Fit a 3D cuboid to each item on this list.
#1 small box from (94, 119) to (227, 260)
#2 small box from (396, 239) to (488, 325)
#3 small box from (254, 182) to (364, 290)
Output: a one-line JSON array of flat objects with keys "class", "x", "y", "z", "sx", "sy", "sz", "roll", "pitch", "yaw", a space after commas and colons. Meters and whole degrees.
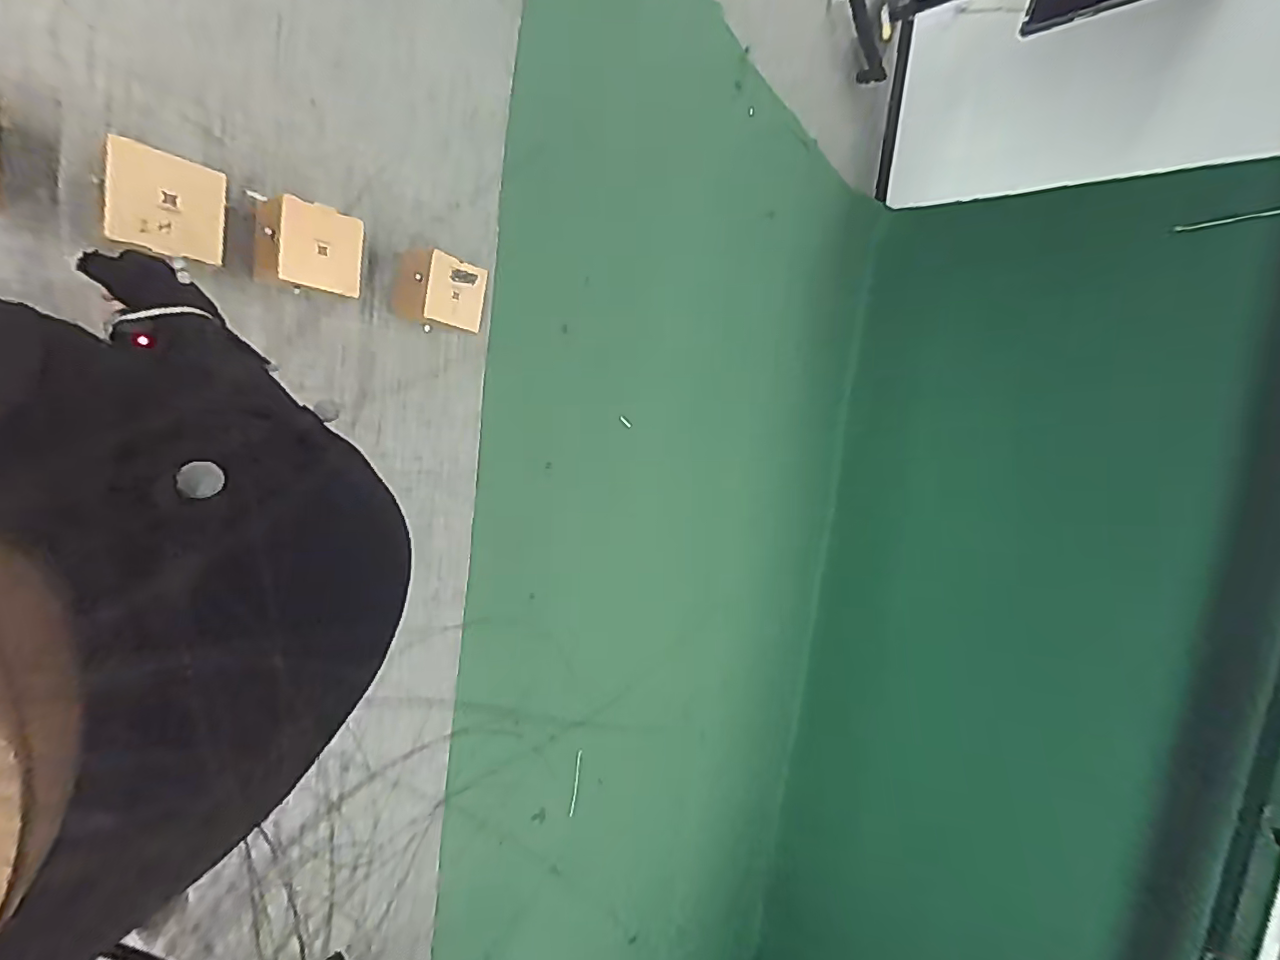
[{"class": "small box", "x": -0.909, "y": -0.533, "z": 1.023, "sx": 0.168, "sy": 0.176, "sz": 0.179, "roll": 1, "pitch": 100, "yaw": -50}, {"class": "small box", "x": -0.542, "y": -0.532, "z": 1.474, "sx": 0.168, "sy": 0.176, "sz": 0.179, "roll": 5, "pitch": 97, "yaw": -51}, {"class": "small box", "x": -0.749, "y": -0.539, "z": 1.221, "sx": 0.168, "sy": 0.176, "sz": 0.179, "roll": -2, "pitch": 101, "yaw": -51}]
